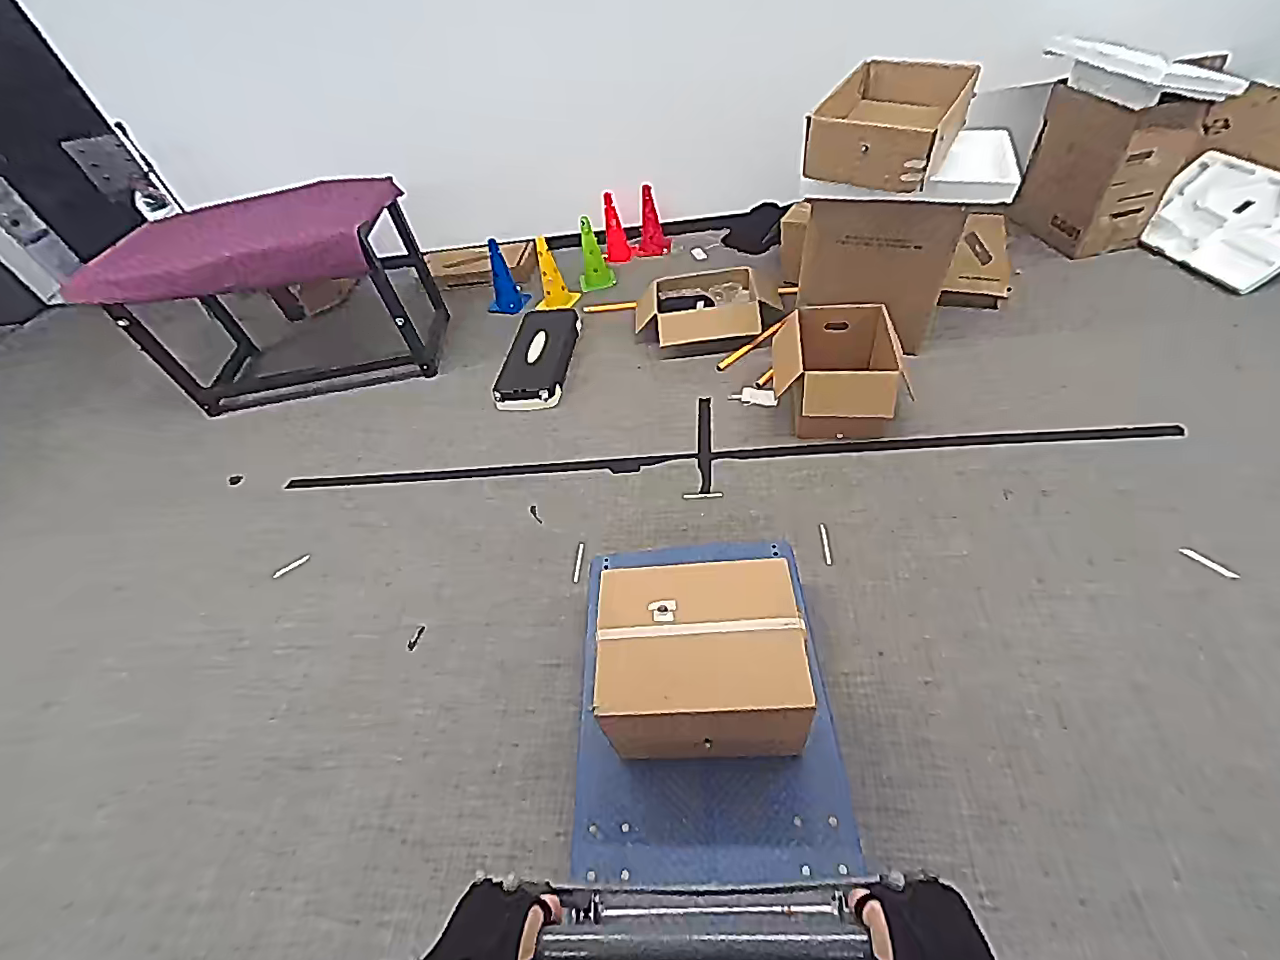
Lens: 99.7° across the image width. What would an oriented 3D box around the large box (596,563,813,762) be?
[{"bbox_3d":[0.137,0.411,1.193,0.408,0.320,0.320,-6,47,7],"label":"large box"}]
